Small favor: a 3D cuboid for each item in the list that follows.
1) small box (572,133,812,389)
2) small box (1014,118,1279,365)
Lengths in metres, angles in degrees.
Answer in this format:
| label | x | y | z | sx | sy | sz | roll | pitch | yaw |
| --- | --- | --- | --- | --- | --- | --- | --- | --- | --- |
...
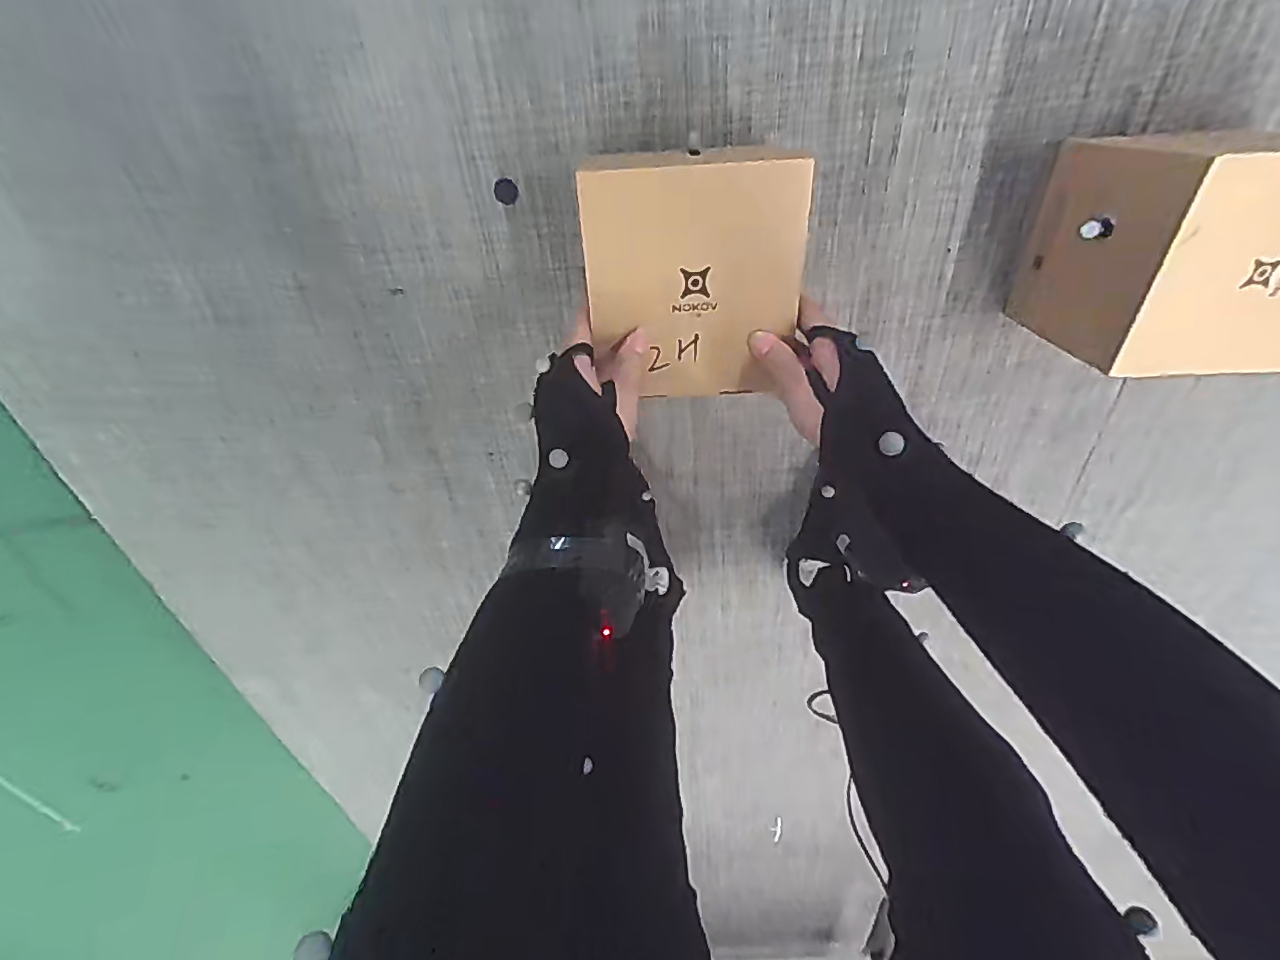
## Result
| label | x | y | z | sx | sy | sz | roll | pitch | yaw |
| --- | --- | --- | --- | --- | --- | --- | --- | --- | --- |
| small box | 0.037 | -0.196 | 0.472 | 0.168 | 0.176 | 0.179 | -2 | 125 | 2 |
| small box | 0.472 | -0.208 | 0.463 | 0.179 | 0.176 | 0.168 | -2 | 125 | 1 |
